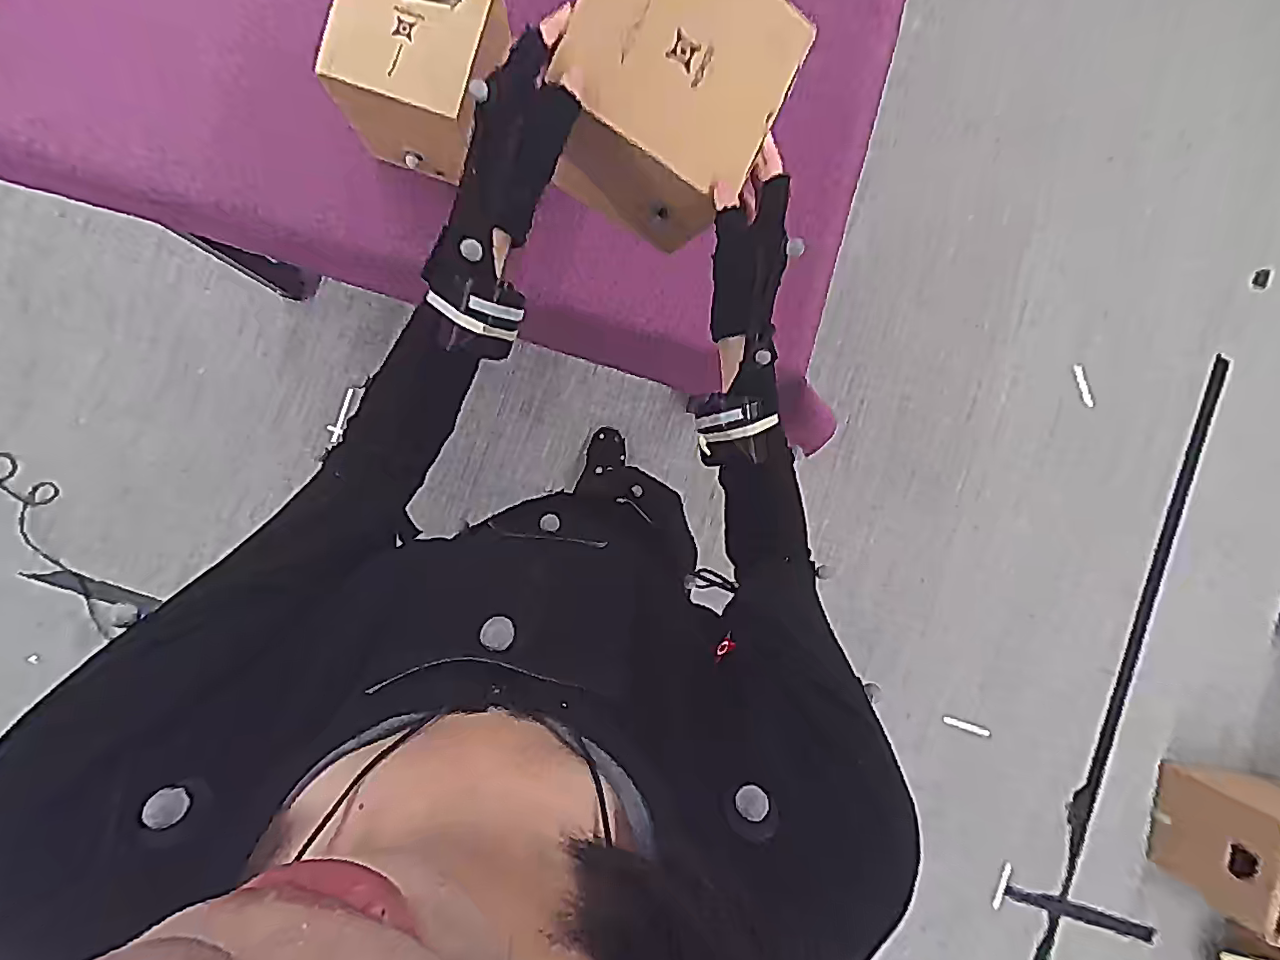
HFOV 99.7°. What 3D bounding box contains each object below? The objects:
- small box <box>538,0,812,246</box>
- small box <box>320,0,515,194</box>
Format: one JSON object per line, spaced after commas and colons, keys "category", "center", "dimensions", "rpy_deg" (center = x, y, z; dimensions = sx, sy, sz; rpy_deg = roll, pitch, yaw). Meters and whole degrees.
{"category": "small box", "center": [0.018, -0.346, 0.508], "dimensions": [0.179, 0.176, 0.168], "rpy_deg": [24, 90, -16]}
{"category": "small box", "center": [-0.267, -0.514, 0.696], "dimensions": [0.168, 0.176, 0.179], "rpy_deg": [16, 89, -5]}
